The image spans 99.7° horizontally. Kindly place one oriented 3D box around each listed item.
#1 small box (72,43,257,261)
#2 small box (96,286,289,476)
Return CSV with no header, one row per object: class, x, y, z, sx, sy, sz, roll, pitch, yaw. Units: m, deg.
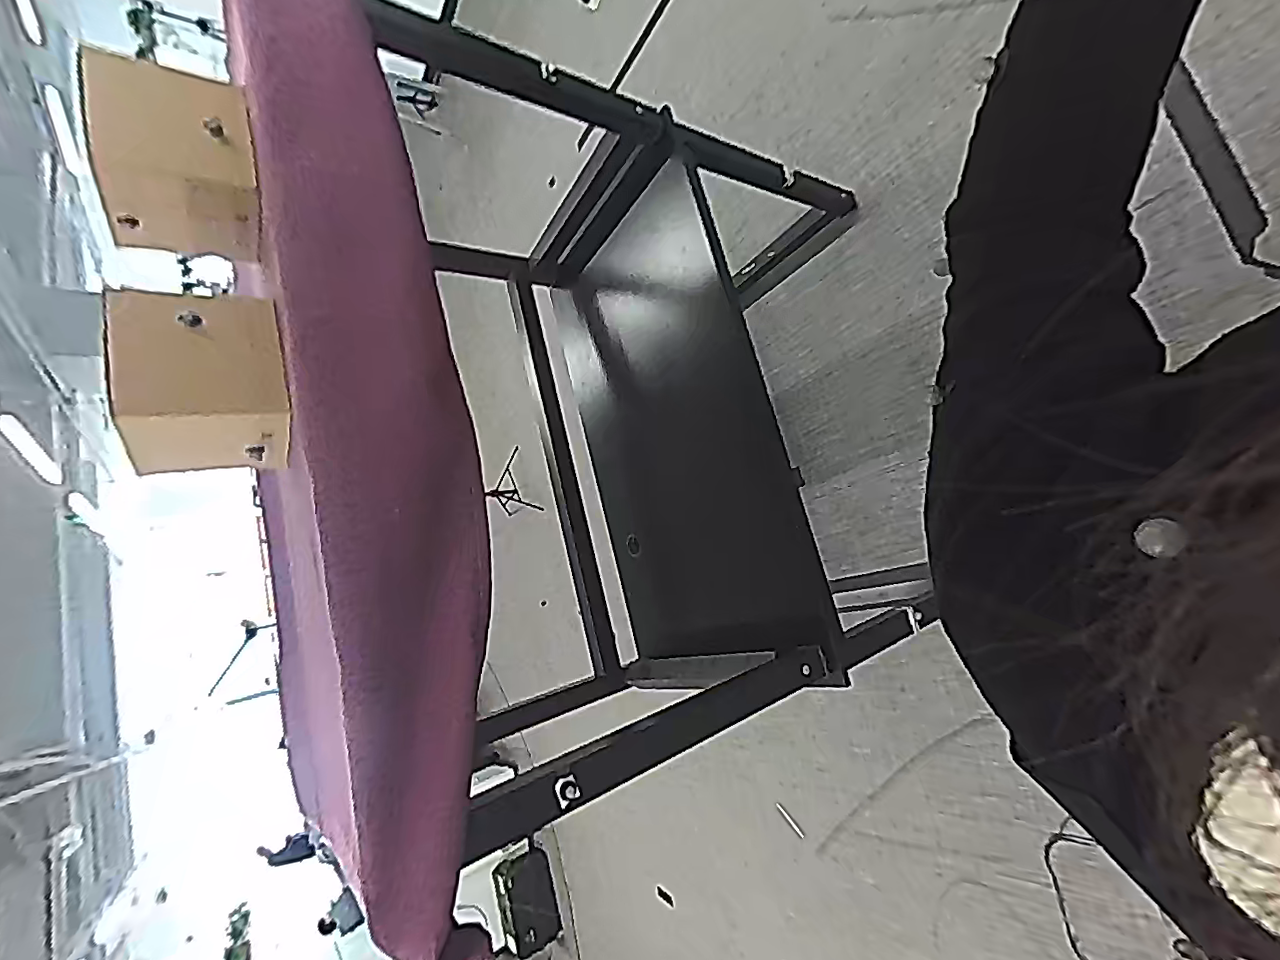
small box,-0.643,-0.432,0.747,0.168,0.176,0.179,-28,72,52
small box,-0.569,-0.120,0.701,0.168,0.176,0.179,-37,67,49
